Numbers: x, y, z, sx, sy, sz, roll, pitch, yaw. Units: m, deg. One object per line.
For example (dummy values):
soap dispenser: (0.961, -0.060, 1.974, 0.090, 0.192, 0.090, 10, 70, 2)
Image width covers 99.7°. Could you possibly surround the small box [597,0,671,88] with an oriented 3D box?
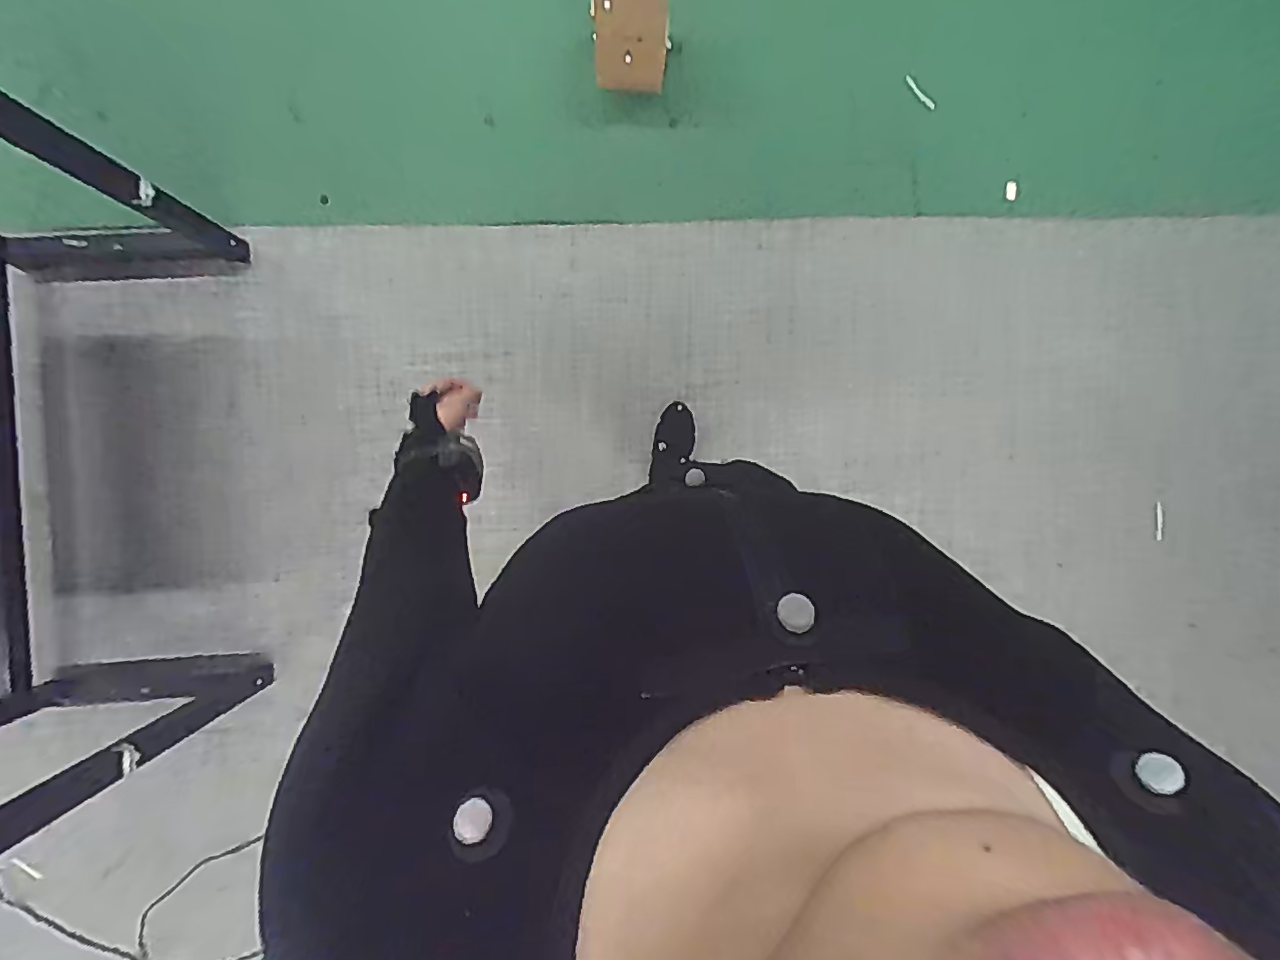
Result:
small box: (-0.018, -1.137, 1.373, 0.179, 0.176, 0.168, 2, 91, -2)
